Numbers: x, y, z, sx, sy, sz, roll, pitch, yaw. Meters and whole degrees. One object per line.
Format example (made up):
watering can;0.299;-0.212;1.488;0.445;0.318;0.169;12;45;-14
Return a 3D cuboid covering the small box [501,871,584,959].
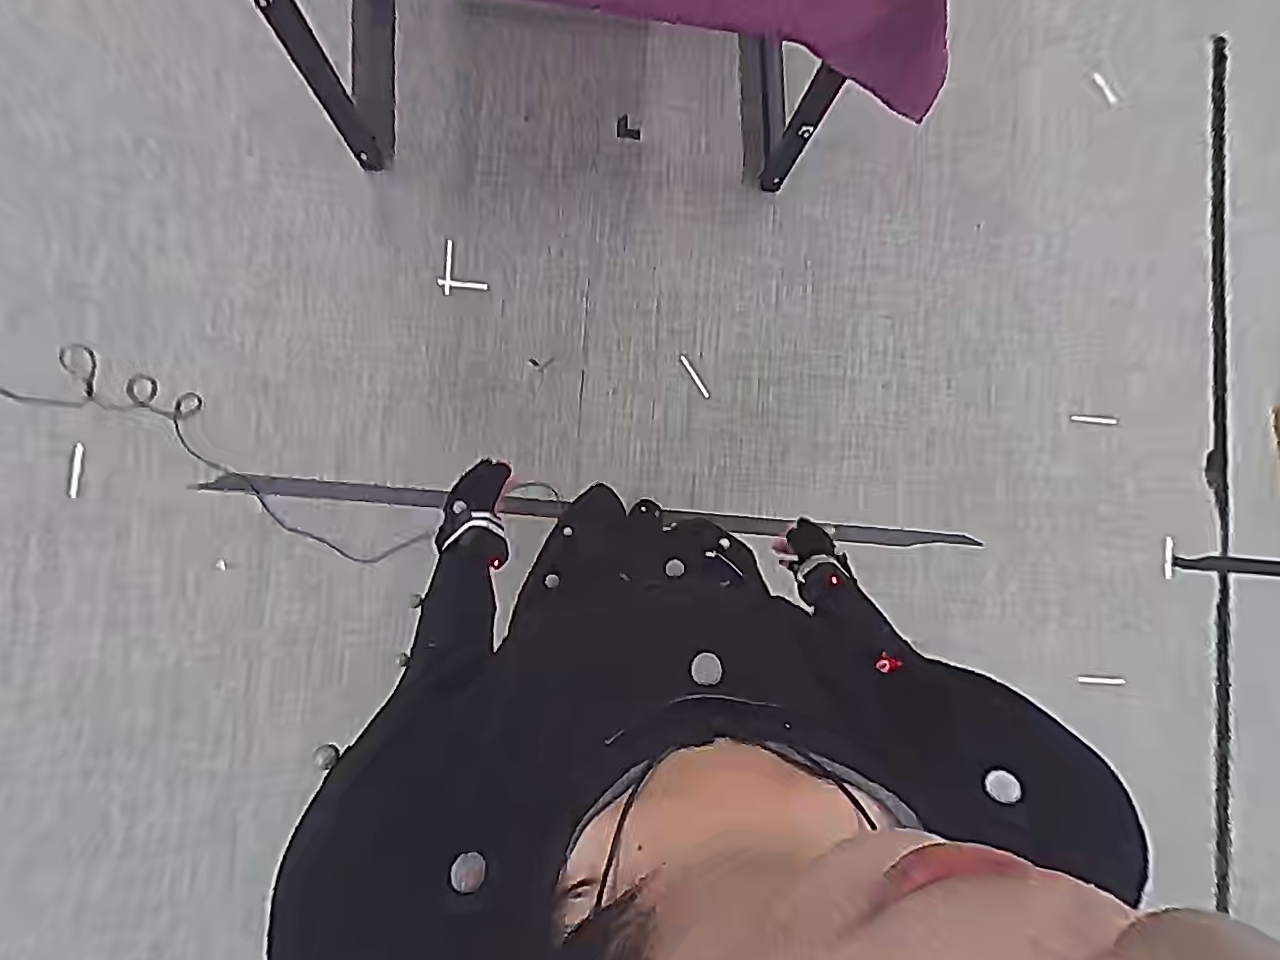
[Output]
small box;-0.236;1.101;1.326;0.179;0.176;0.168;9;86;-5
